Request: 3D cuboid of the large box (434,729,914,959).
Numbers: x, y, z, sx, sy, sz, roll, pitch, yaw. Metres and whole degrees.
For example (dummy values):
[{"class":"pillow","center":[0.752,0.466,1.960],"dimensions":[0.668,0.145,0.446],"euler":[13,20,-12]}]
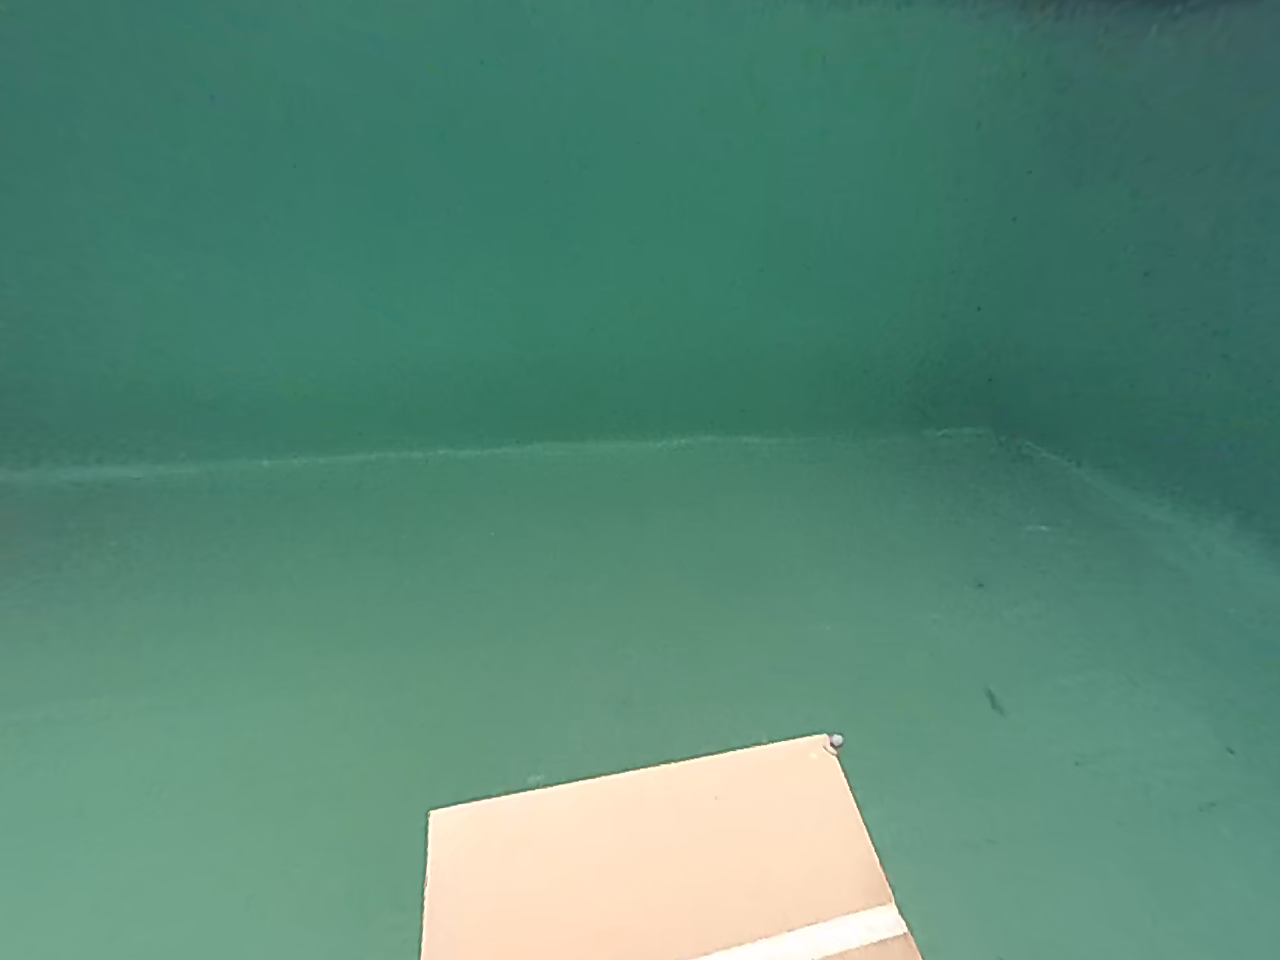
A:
[{"class":"large box","center":[0.021,0.503,0.559],"dimensions":[0.408,0.320,0.320],"euler":[-5,49,-12]}]
